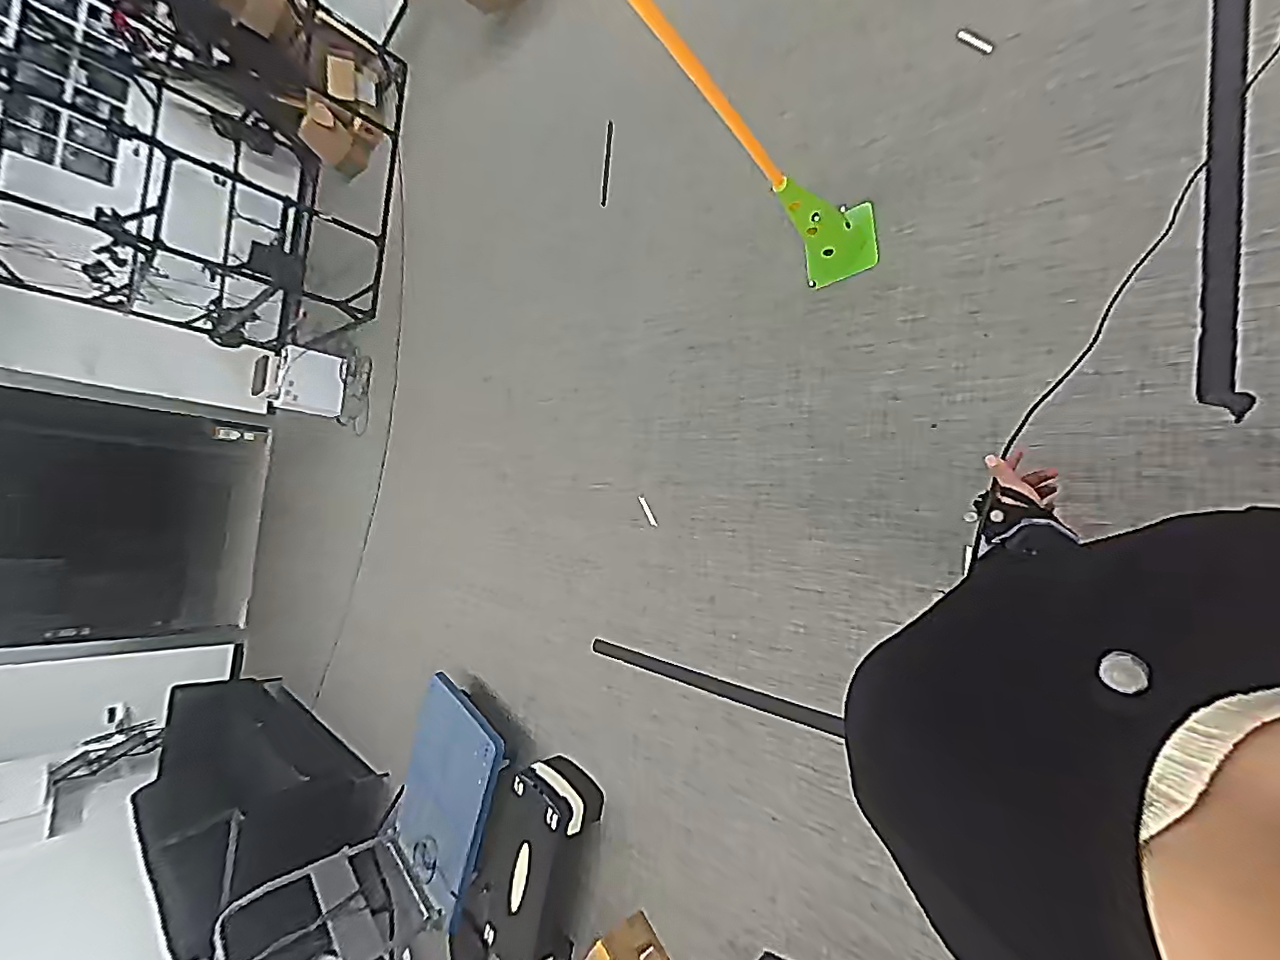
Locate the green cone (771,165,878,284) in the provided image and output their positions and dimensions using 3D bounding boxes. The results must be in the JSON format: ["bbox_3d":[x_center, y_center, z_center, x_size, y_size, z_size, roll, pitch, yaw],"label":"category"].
[{"bbox_3d":[0.454,-0.701,1.412,0.200,0.368,0.202,-12,73,41],"label":"green cone"}]
